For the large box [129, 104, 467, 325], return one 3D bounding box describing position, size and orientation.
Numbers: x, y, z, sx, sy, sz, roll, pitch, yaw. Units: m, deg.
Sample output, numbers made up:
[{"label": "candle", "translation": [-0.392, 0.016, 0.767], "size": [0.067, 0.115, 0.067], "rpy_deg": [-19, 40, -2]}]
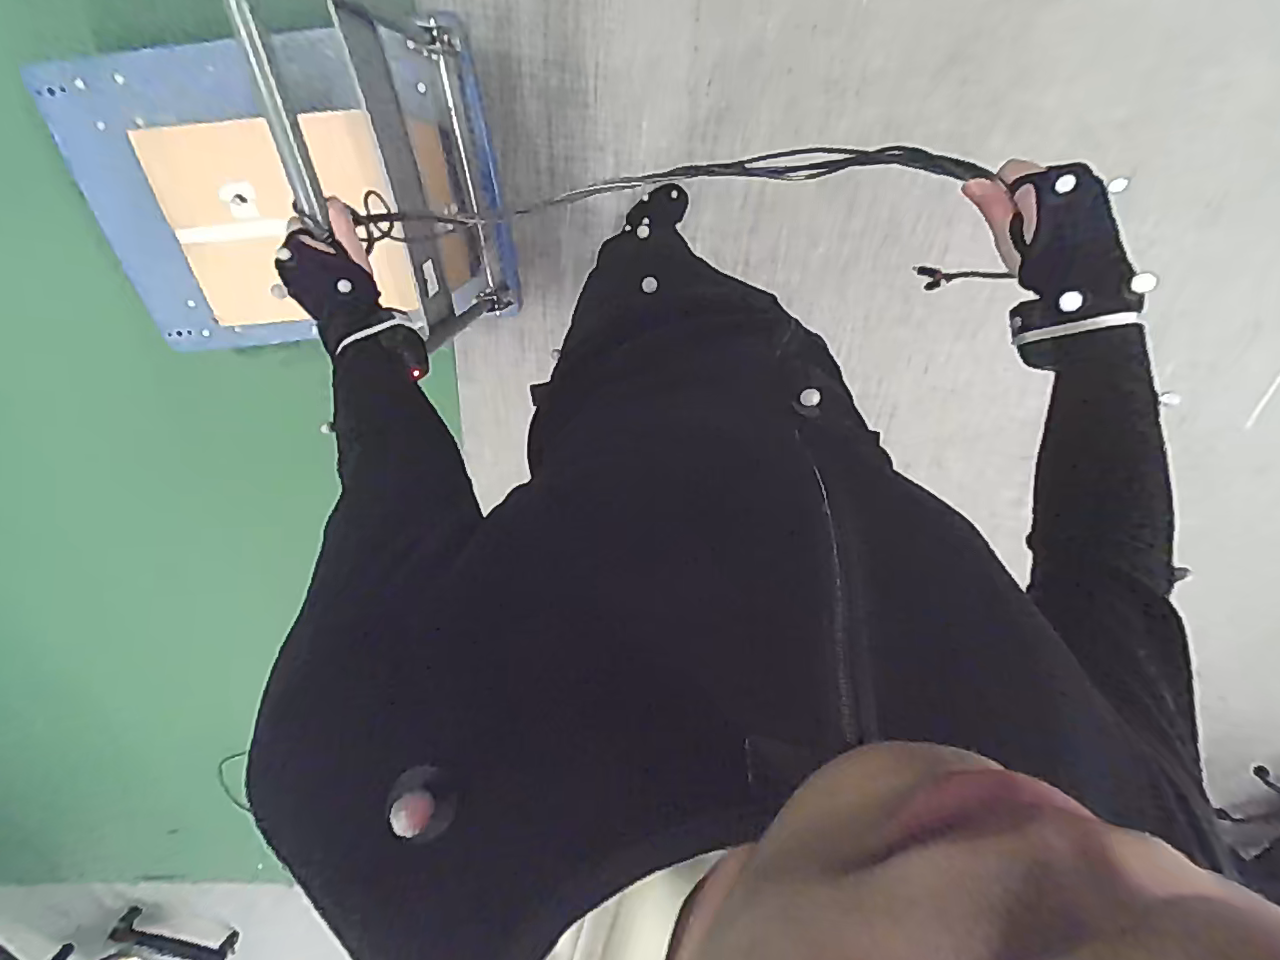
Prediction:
[{"label": "large box", "translation": [-0.604, -0.515, 1.053], "size": [0.408, 0.320, 0.320], "rpy_deg": [-5, 120, 1]}]
